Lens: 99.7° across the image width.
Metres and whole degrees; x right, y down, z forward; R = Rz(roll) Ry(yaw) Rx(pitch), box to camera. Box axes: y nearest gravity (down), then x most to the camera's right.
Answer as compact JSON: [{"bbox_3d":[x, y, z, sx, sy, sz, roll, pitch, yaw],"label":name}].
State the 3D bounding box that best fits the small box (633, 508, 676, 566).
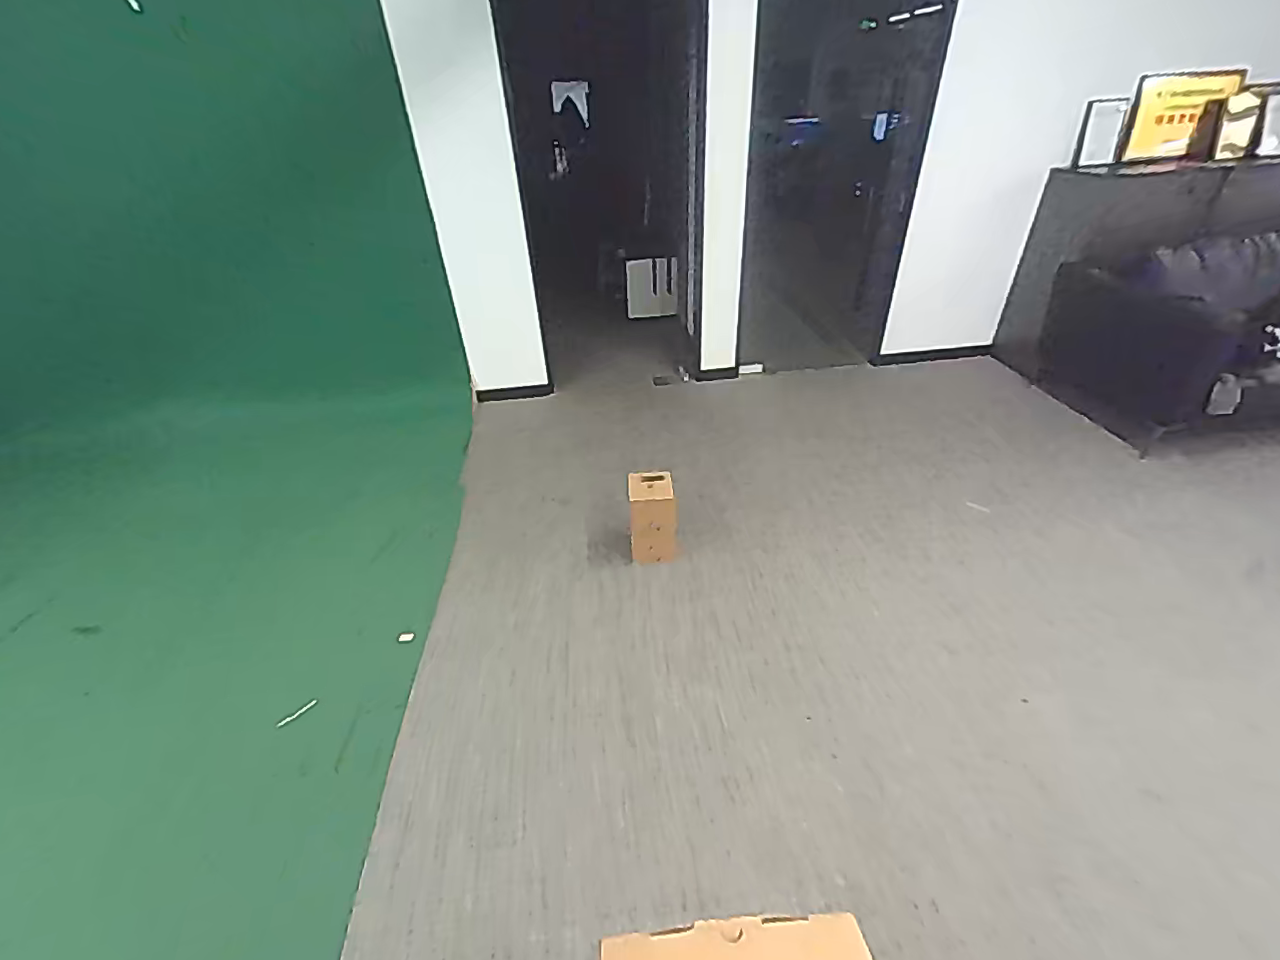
[{"bbox_3d":[0.061,0.233,2.184,0.168,0.176,0.179,-1,35,2],"label":"small box"}]
